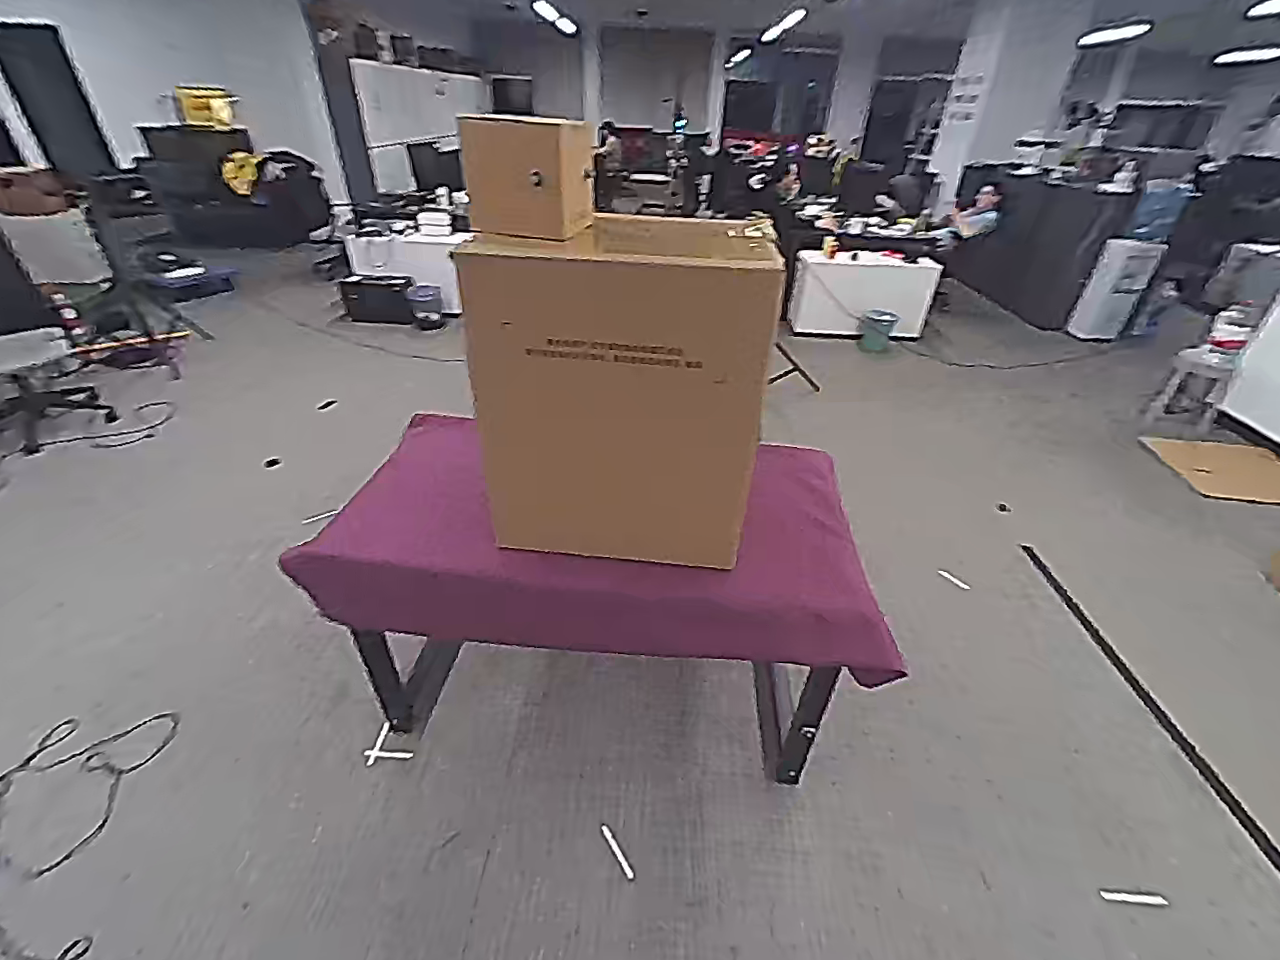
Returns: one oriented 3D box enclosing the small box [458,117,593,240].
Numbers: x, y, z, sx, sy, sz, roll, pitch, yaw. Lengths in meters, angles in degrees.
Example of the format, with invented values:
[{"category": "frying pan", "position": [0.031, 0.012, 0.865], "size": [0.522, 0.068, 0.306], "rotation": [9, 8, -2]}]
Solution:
[{"category": "small box", "position": [-0.187, -0.524, 0.940], "size": [0.179, 0.176, 0.168], "rotation": [9, 35, 9]}]
